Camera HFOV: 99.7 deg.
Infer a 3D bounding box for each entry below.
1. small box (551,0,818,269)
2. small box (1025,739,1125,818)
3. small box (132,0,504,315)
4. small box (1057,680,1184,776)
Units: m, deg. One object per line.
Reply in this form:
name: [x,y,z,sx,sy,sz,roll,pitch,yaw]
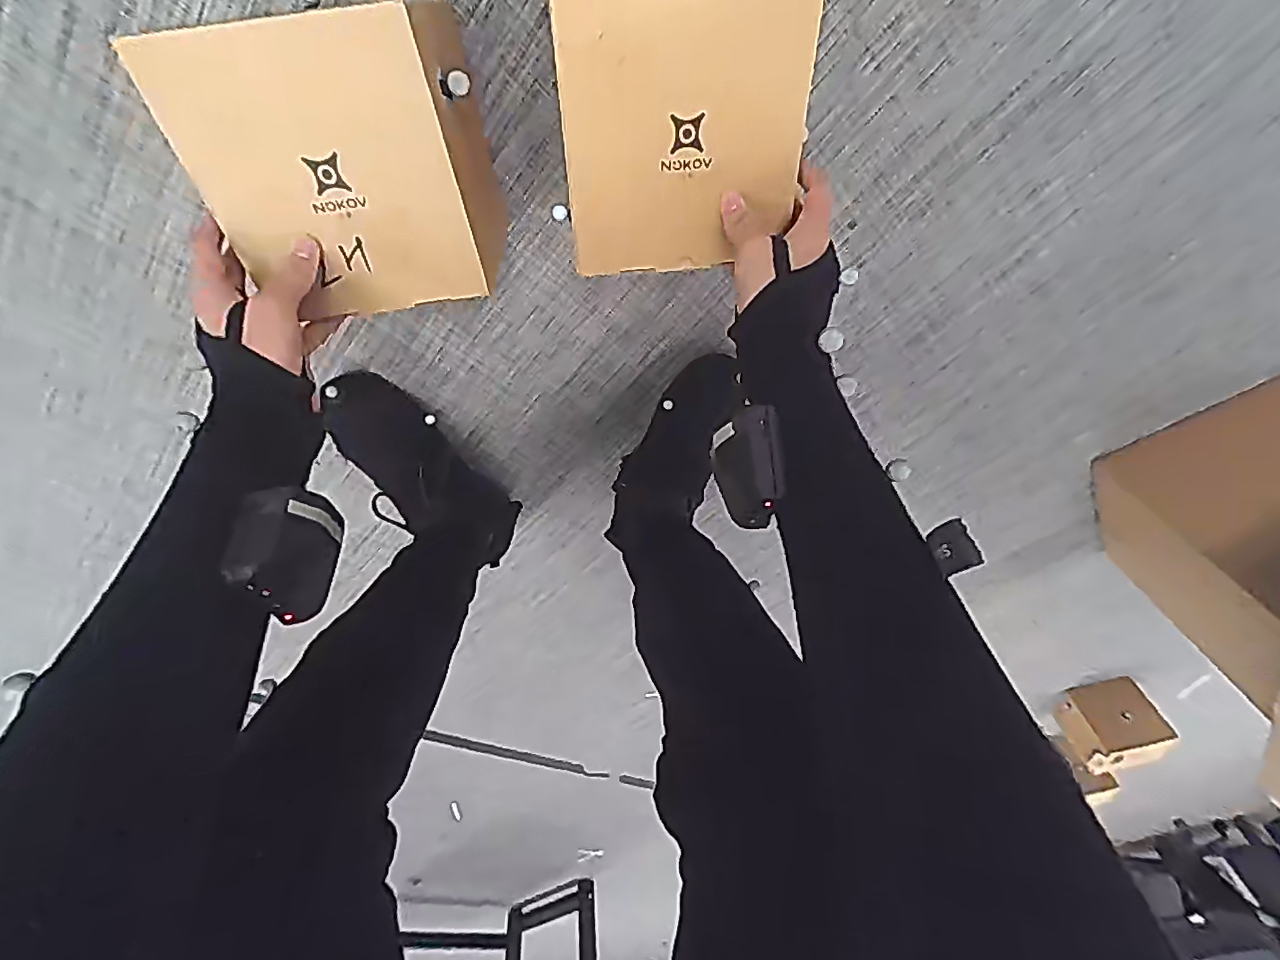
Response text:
small box: [0.021,-0.290,0.429,0.168,0.176,0.179,-6,133,-3]
small box: [1.384,0.952,1.733,0.179,0.176,0.168,-22,131,10]
small box: [-0.211,-0.255,0.422,0.168,0.176,0.179,-8,133,-1]
small box: [1.289,0.672,1.470,0.179,0.176,0.168,-16,132,6]
